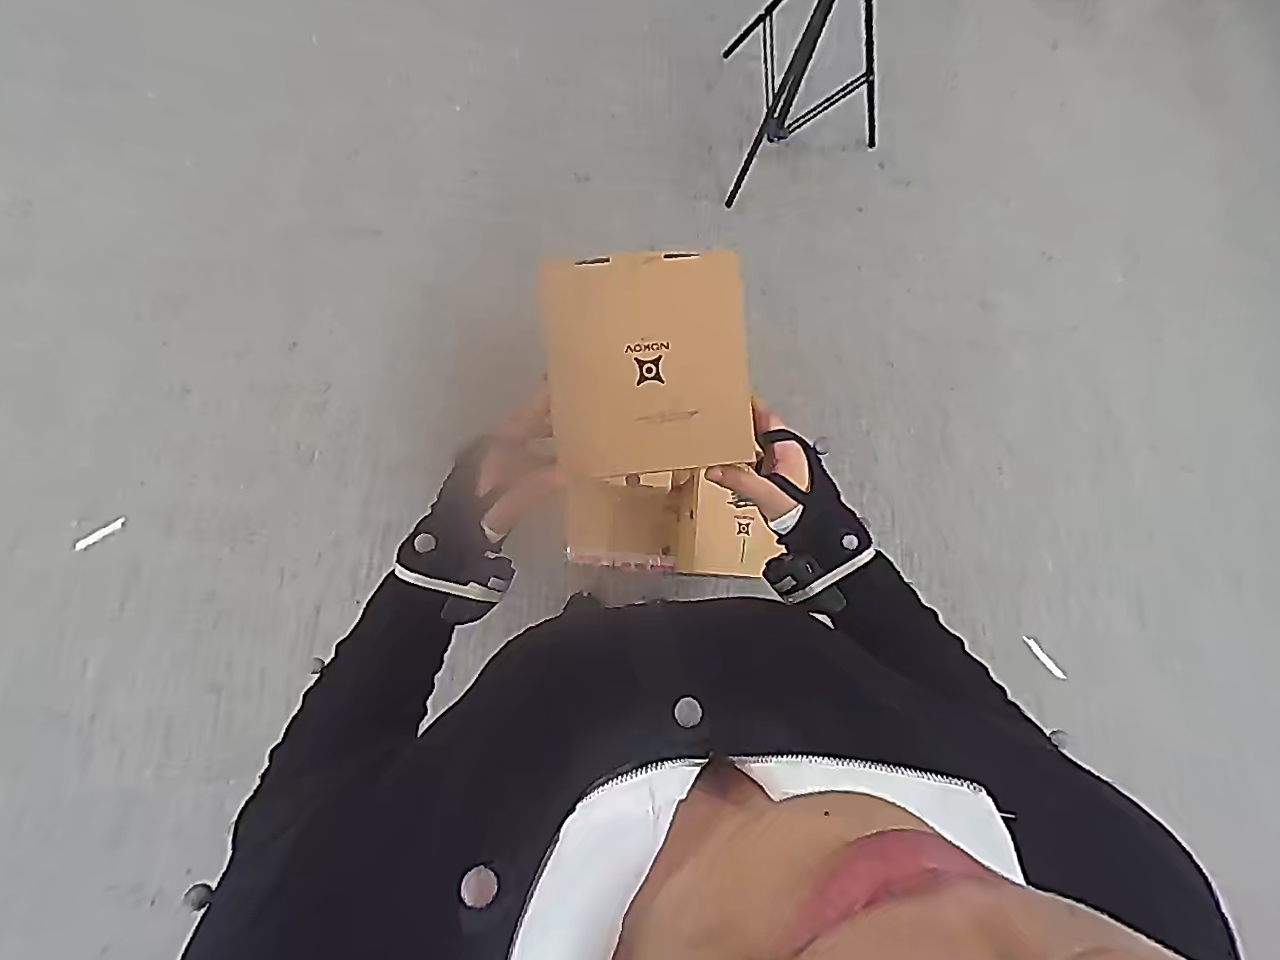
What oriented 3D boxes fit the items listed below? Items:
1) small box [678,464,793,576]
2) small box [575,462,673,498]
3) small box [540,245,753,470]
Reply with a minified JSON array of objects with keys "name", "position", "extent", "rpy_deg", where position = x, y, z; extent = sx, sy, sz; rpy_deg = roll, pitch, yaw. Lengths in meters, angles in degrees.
[{"name":"small box","position":[0.166,0.078,0.983],"extent":[0.168,0.176,0.179],"rpy_deg":[6,81,-5]},{"name":"small box","position":[-0.026,-0.071,0.992],"extent":[0.168,0.176,0.179],"rpy_deg":[6,80,-2]},{"name":"small box","position":[-0.002,-0.102,0.519],"extent":[0.168,0.176,0.179],"rpy_deg":[-6,93,-6]}]
